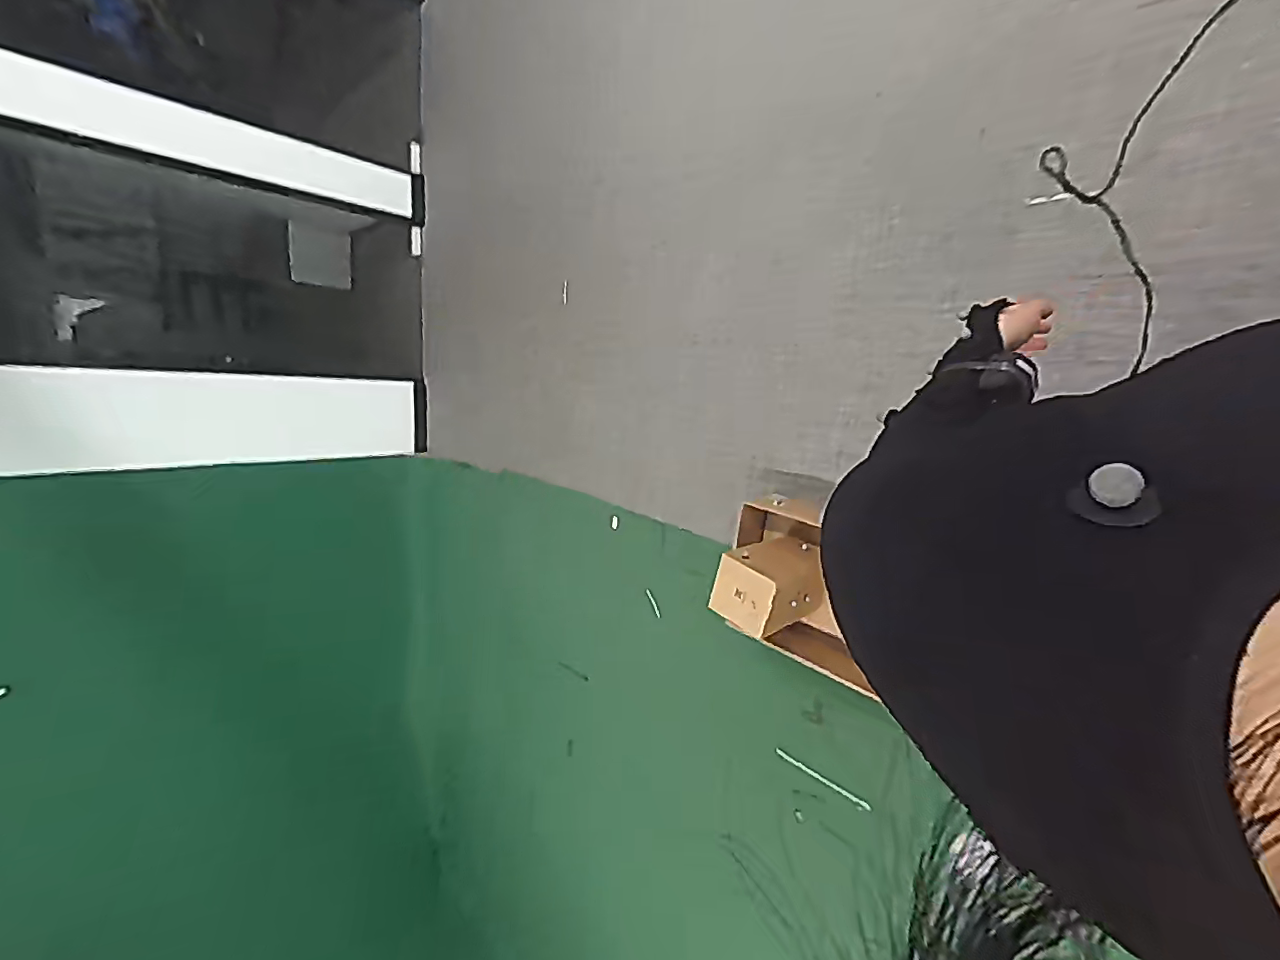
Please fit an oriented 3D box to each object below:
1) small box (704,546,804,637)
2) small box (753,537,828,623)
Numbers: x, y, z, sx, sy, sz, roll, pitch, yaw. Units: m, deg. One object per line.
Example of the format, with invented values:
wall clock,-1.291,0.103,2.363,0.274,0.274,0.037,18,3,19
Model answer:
small box,0.305,0.288,1.445,0.179,0.176,0.168,26,112,39
small box,0.418,0.281,1.564,0.168,0.176,0.179,26,110,39
